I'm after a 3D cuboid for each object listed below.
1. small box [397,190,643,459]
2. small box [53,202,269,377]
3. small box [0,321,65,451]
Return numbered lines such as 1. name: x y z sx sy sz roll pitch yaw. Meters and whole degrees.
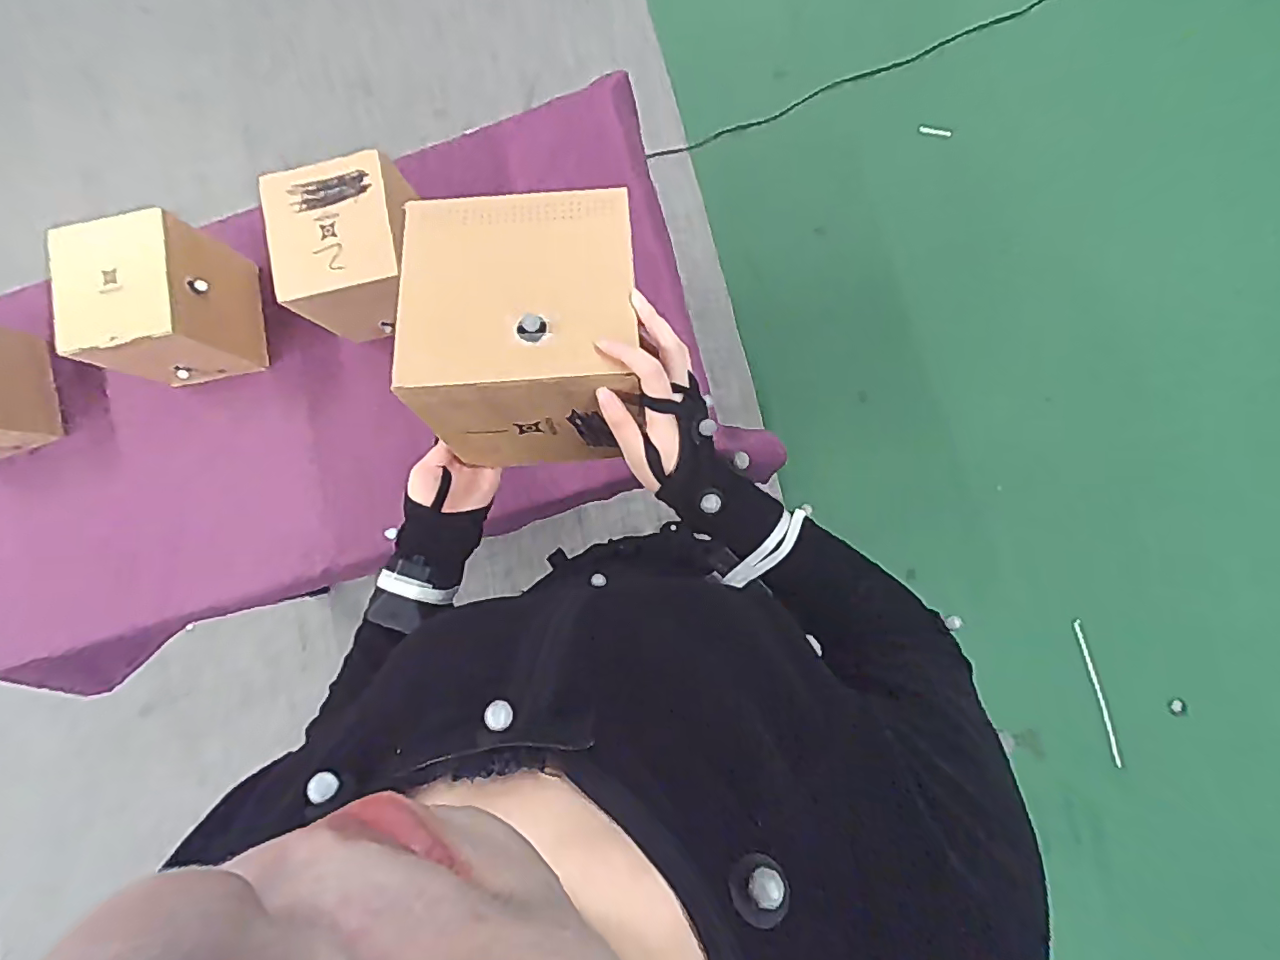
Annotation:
1. small box: -0.090 -0.128 0.476 0.179 0.168 0.176 -3 73 0
2. small box: -0.686 -0.266 0.792 0.168 0.176 0.179 -9 86 4
3. small box: -1.034 -0.146 0.808 0.168 0.176 0.179 -16 85 3
